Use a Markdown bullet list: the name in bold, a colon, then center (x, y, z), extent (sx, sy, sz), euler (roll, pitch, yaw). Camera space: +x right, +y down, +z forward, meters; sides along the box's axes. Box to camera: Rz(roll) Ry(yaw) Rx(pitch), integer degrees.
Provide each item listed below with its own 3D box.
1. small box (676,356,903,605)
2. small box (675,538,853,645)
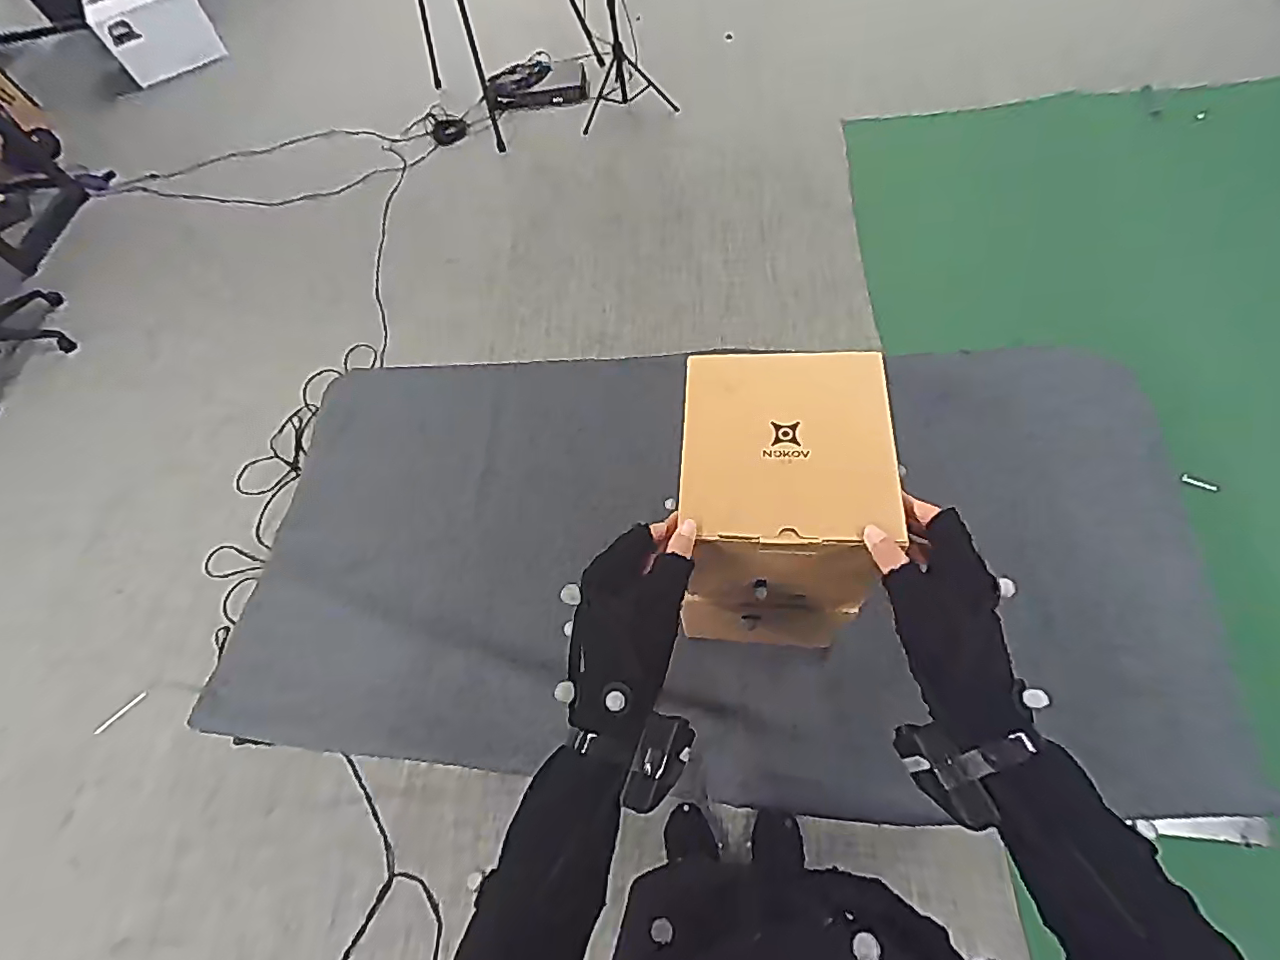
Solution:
- **small box**: center (0.124, 0.006, 0.503), extent (0.168, 0.176, 0.179), euler (1, 63, 9)
- **small box**: center (0.141, 0.092, 0.640), extent (0.179, 0.176, 0.168), euler (2, 63, 9)
